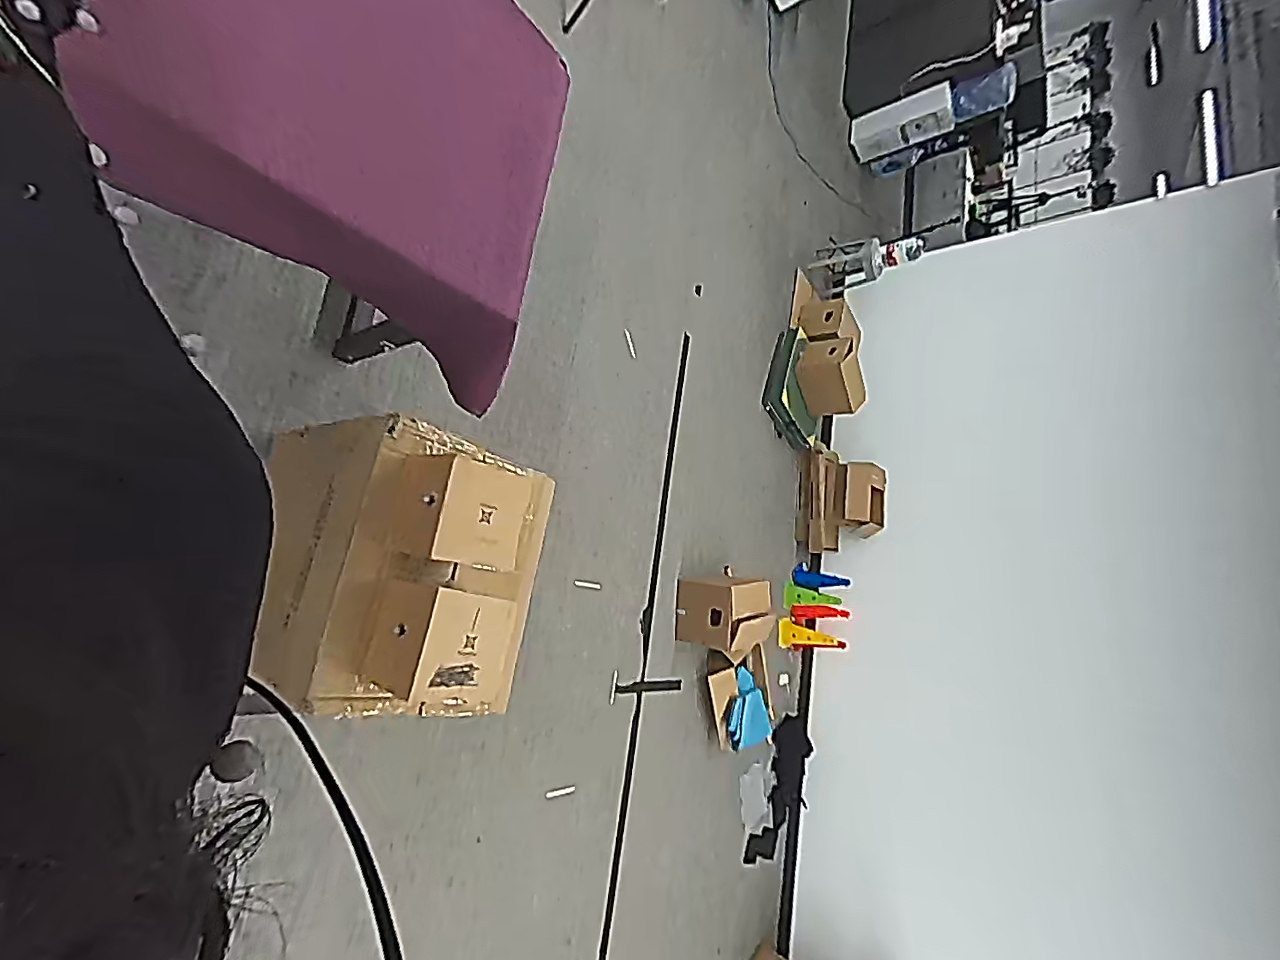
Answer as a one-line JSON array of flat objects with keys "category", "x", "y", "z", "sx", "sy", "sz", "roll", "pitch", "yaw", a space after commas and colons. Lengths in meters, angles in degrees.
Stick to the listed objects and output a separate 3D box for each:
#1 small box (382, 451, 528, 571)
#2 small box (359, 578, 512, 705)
[{"category": "small box", "x": -0.331, "y": 0.056, "z": 0.965, "sx": 0.168, "sy": 0.176, "sz": 0.179, "roll": 23, "pitch": 74, "yaw": -47}, {"category": "small box", "x": -0.354, "y": 0.275, "z": 0.931, "sx": 0.168, "sy": 0.176, "sz": 0.179, "roll": 28, "pitch": 66, "yaw": -47}]
